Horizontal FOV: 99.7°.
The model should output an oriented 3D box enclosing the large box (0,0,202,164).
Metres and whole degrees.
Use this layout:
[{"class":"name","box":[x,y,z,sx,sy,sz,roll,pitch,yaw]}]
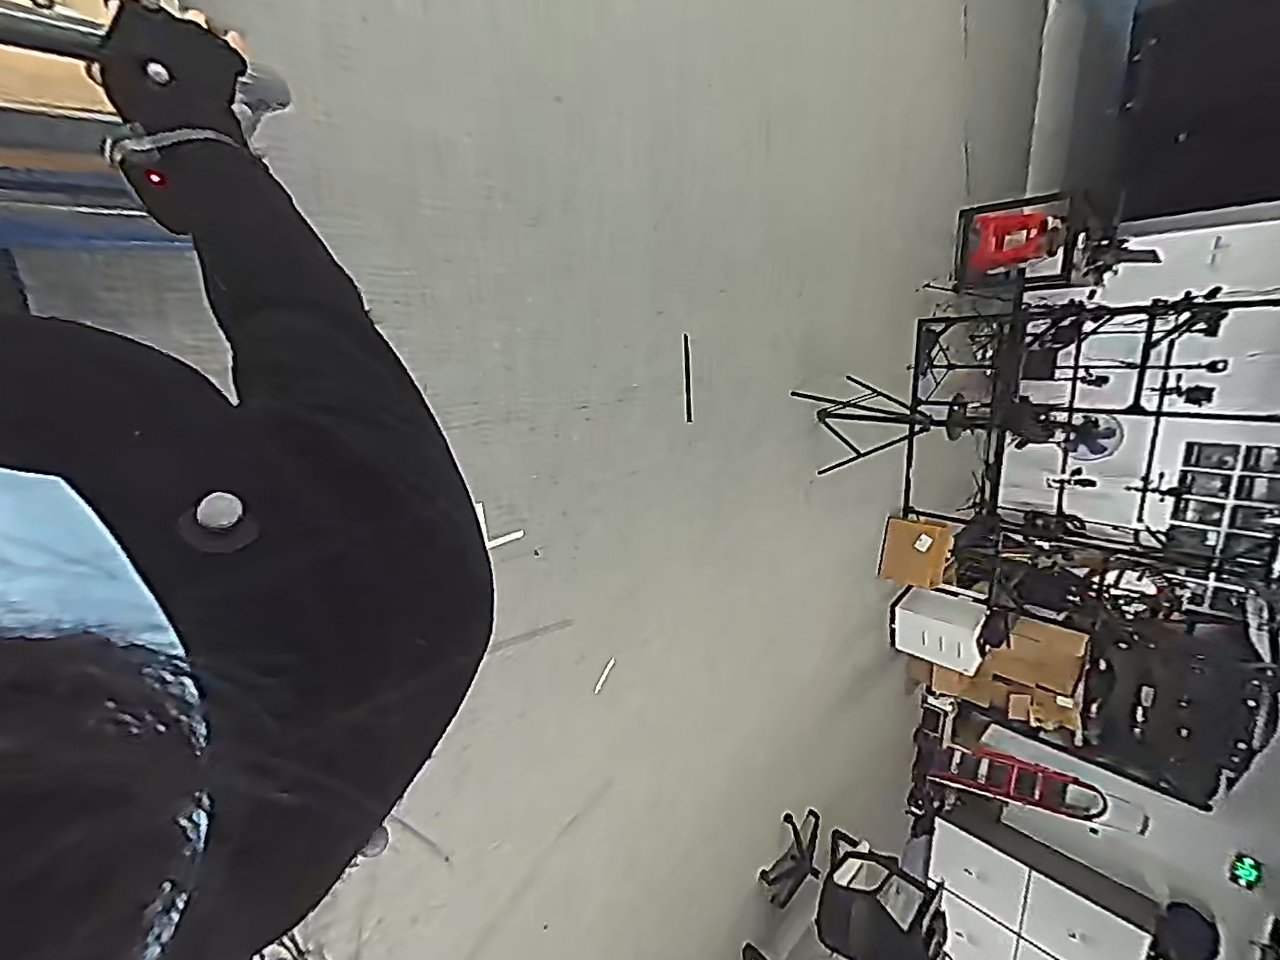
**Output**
[{"class":"large box","box":[-0.886,-0.630,0.700,0.408,0.320,0.320,-23,115,-41]}]
